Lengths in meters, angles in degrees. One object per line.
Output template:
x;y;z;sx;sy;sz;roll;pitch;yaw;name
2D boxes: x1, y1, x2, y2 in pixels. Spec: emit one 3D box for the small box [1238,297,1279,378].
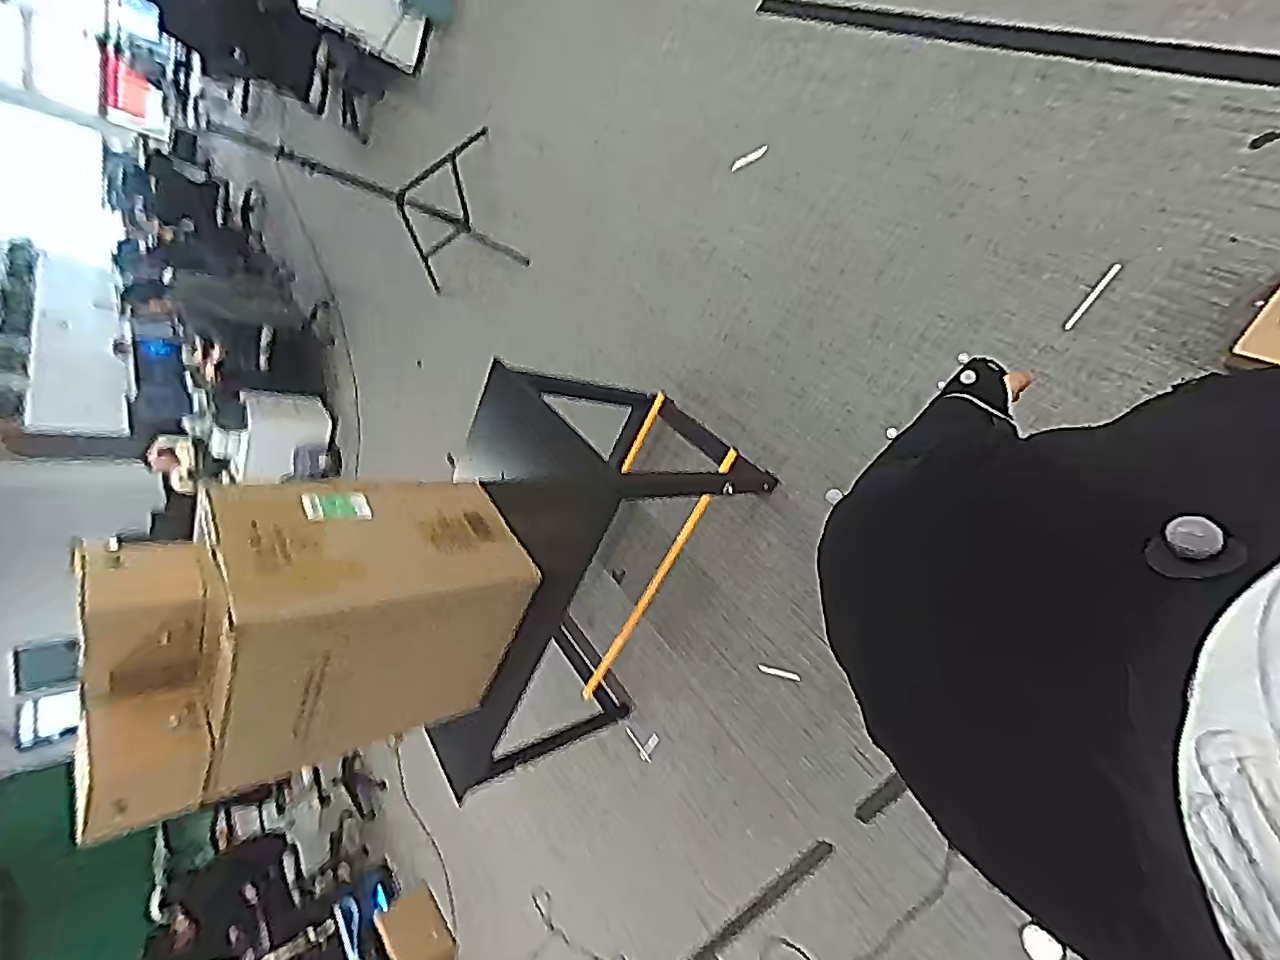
1.161;-0.258;0.902;0.168;0.176;0.179;38;117;37;small box
